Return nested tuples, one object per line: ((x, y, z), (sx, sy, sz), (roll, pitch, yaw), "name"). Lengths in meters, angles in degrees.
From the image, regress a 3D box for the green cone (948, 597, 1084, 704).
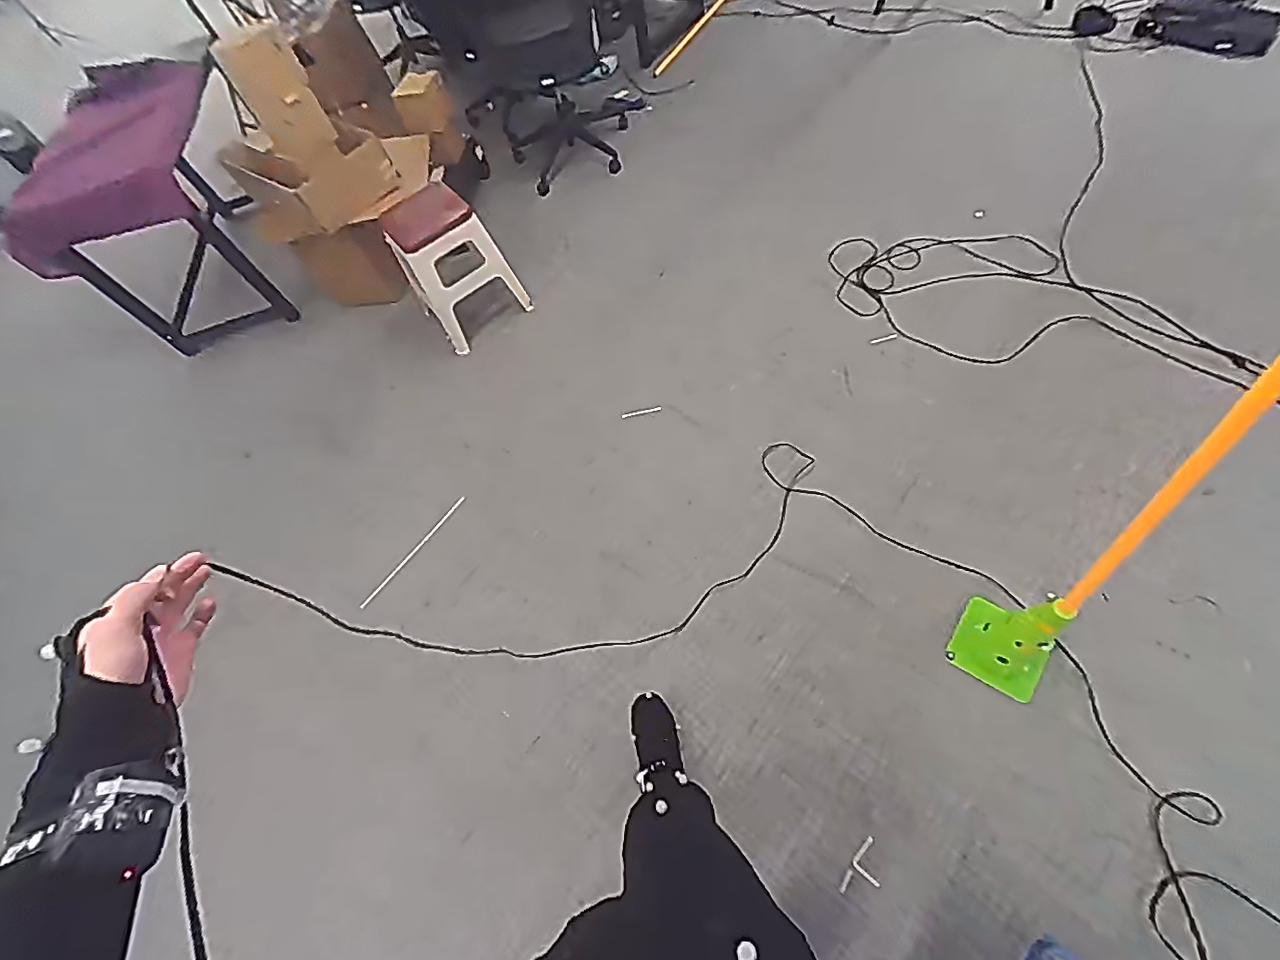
((0.872, 0.339, 1.200), (0.200, 0.368, 0.202), (29, 70, 24), "green cone")
